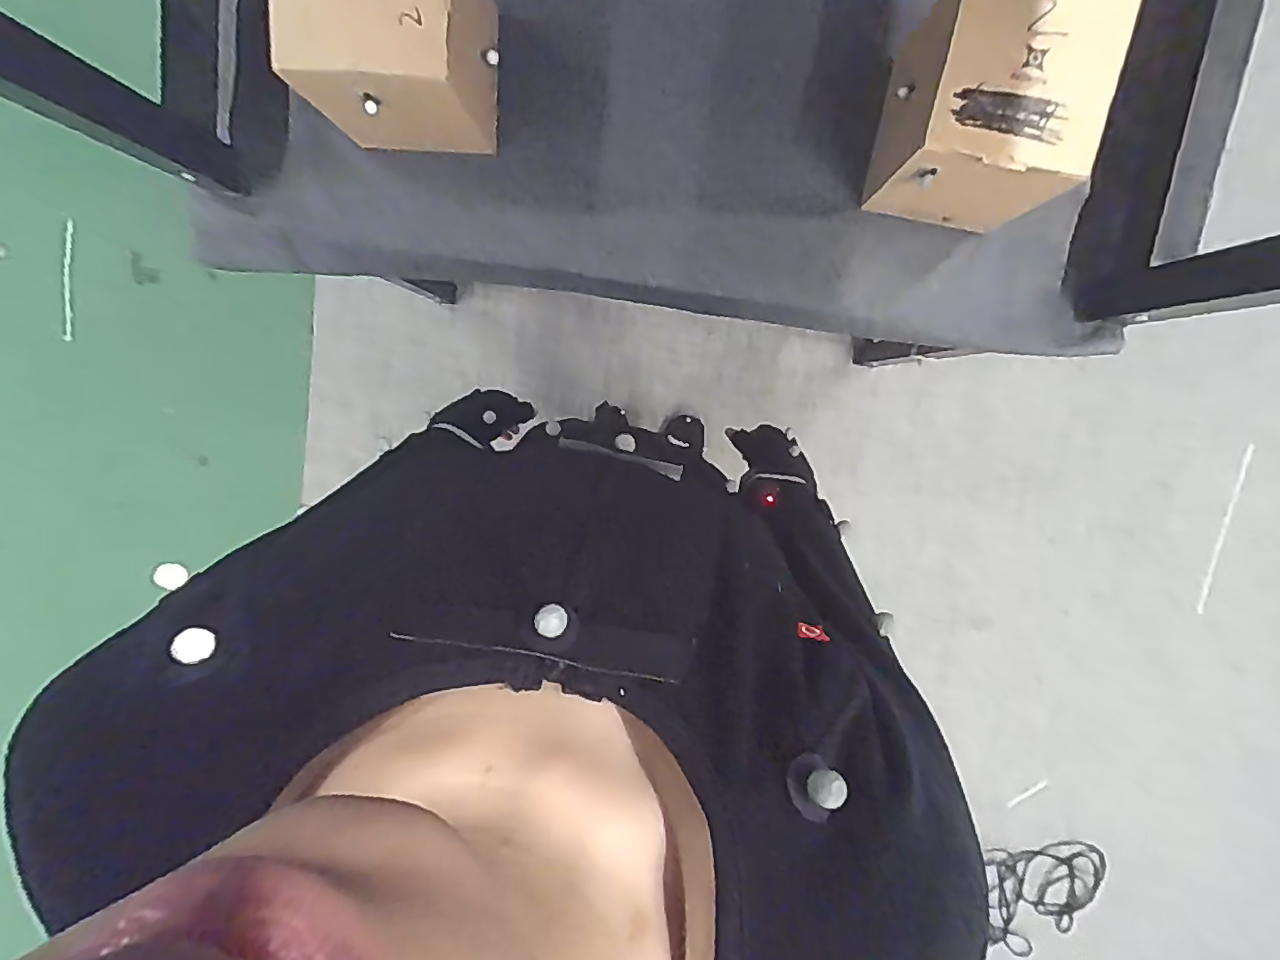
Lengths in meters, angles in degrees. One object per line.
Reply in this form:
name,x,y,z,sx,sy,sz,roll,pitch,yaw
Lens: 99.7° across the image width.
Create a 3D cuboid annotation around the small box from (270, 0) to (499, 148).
small box,-0.267,-0.490,0.594,0.179,0.176,0.168,4,100,0
